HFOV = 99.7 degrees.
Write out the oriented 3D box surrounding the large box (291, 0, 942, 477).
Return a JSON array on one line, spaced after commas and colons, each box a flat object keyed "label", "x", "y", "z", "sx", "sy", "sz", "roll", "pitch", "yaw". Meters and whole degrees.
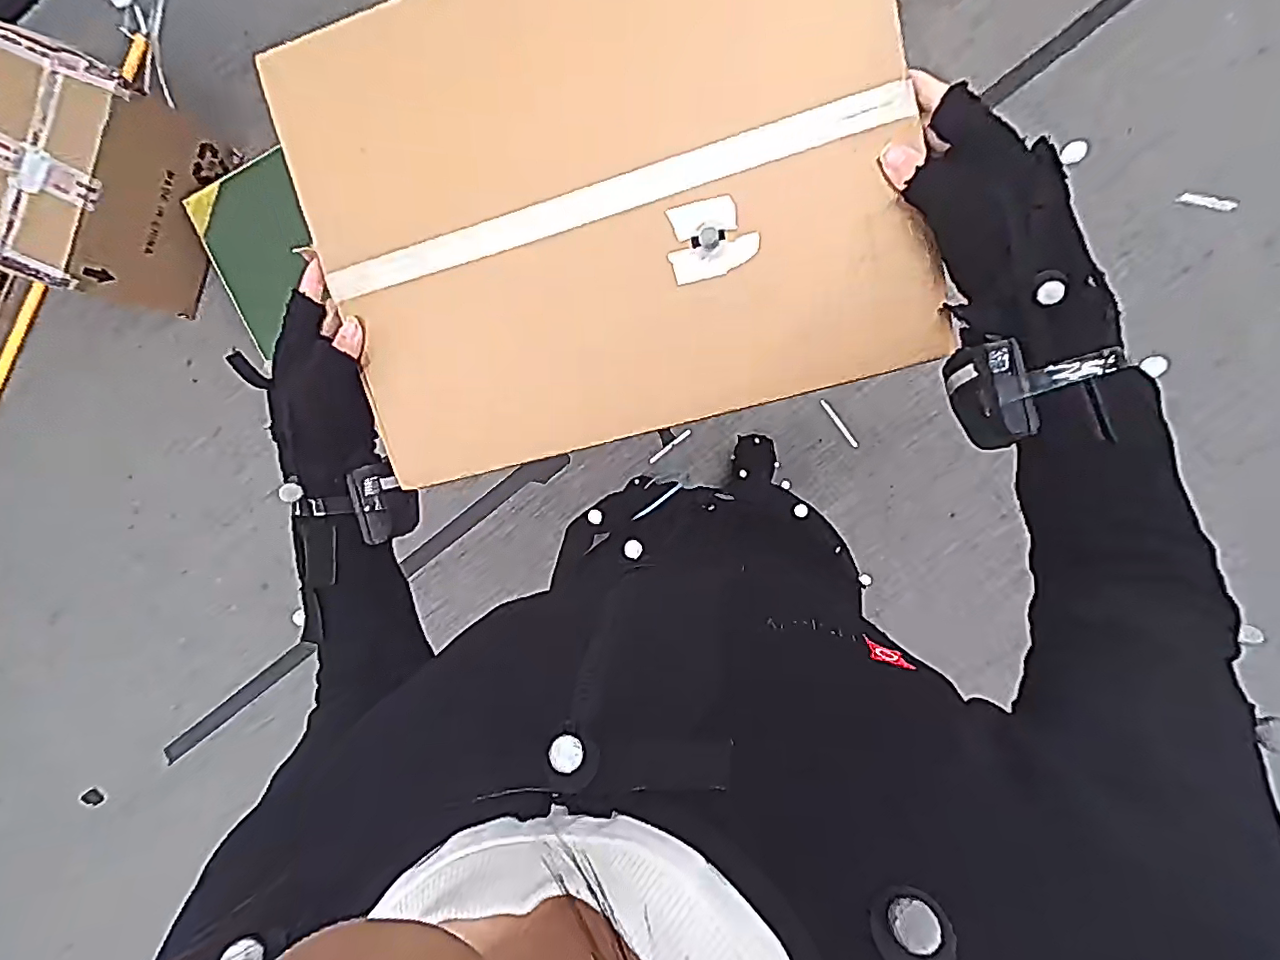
[{"label": "large box", "x": -0.007, "y": -0.220, "z": 0.521, "sx": 0.408, "sy": 0.320, "sz": 0.320, "roll": -14, "pitch": 100, "yaw": 8}]
